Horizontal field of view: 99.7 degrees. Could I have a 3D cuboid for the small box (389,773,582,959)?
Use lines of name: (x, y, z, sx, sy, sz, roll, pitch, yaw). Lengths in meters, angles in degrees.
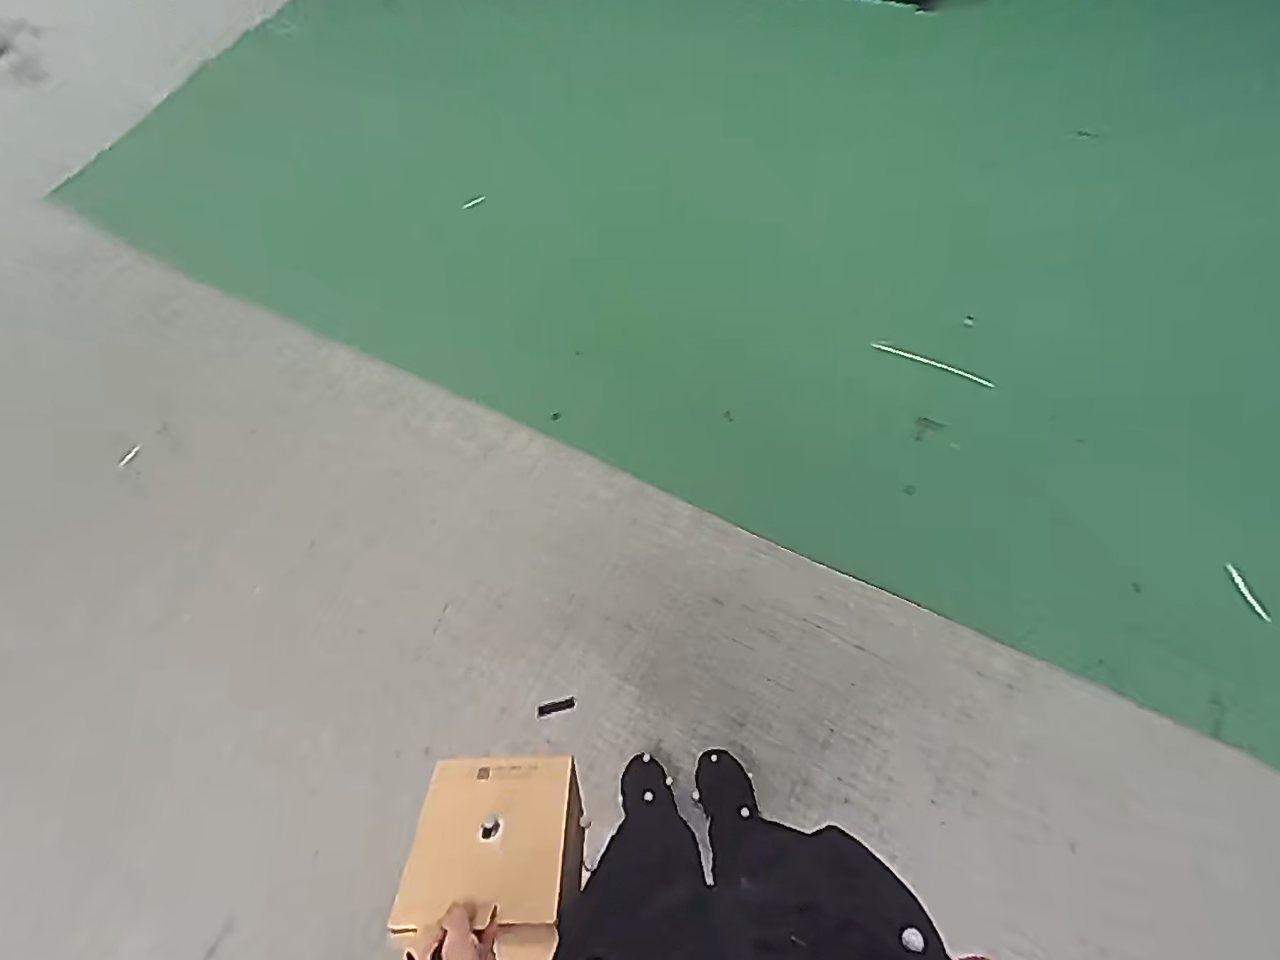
small box: (-0.160, 0.461, 0.626, 0.168, 0.179, 0.176, -5, 34, 0)
